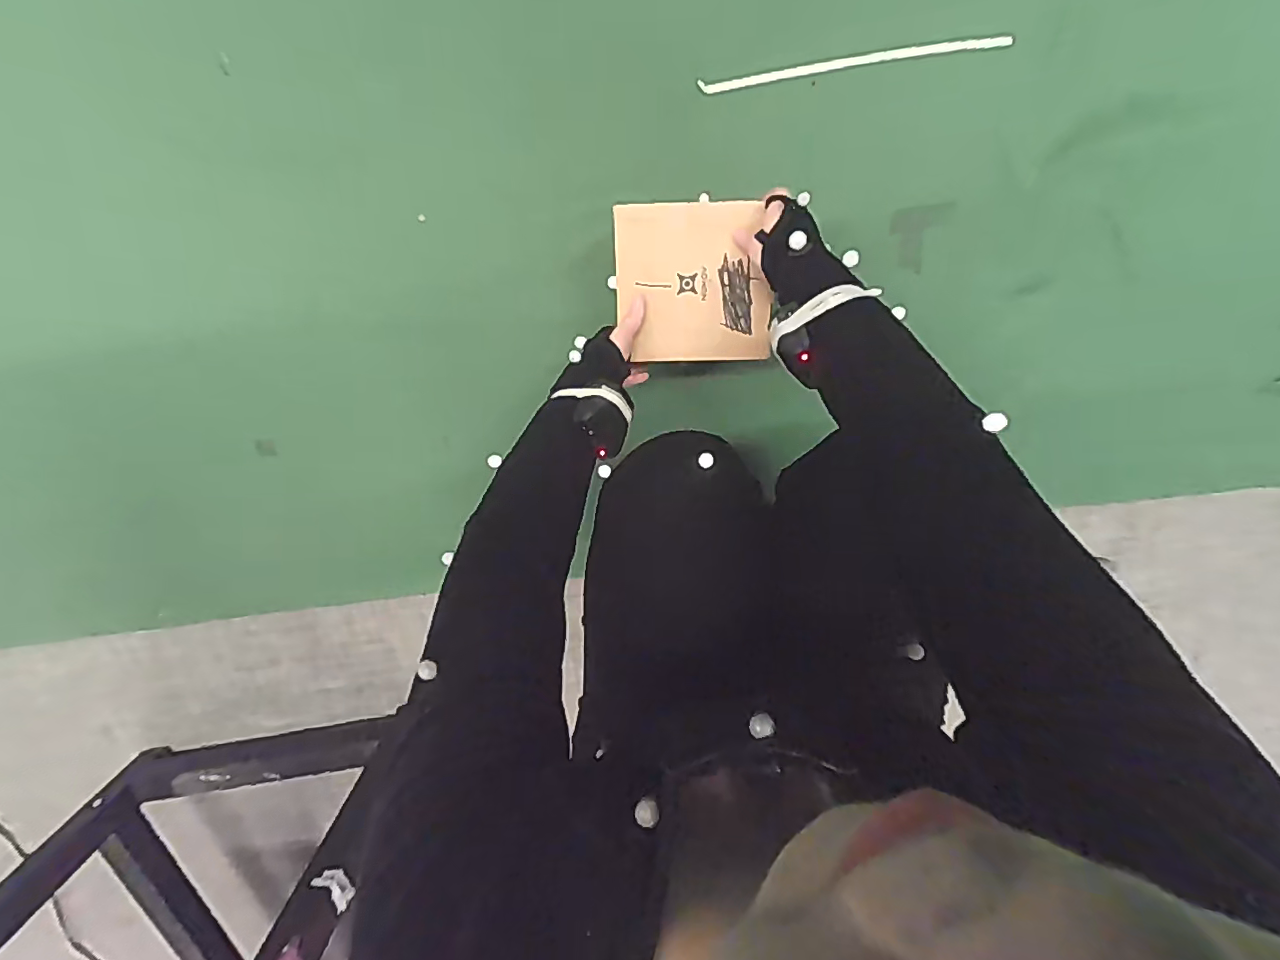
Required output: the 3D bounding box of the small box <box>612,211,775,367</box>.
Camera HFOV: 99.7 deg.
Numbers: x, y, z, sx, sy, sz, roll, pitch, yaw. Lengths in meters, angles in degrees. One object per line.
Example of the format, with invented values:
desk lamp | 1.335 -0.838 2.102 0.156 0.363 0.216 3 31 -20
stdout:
small box | 0.059 -0.234 0.671 0.179 0.176 0.168 -1 109 2
